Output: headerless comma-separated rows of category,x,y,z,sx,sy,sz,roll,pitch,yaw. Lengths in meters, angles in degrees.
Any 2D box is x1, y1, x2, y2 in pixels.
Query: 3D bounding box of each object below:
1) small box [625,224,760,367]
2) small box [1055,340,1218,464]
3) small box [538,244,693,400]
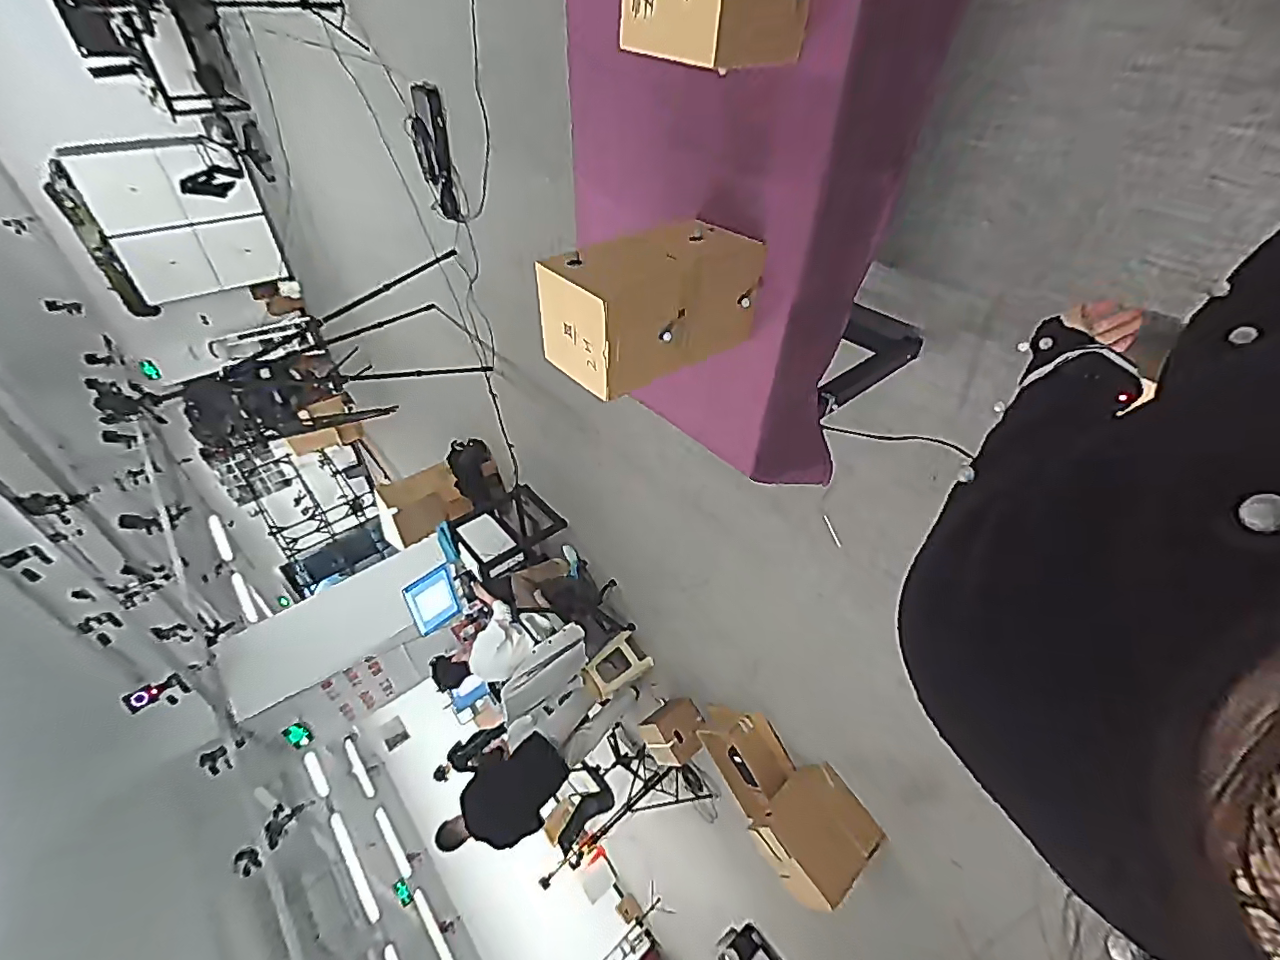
small box,0.088,-0.329,0.942,0.168,0.176,0.179,38,143,34
small box,1.032,-0.170,1.126,0.179,0.176,0.168,40,145,32
small box,-0.040,-0.260,0.862,0.179,0.176,0.168,38,144,32
